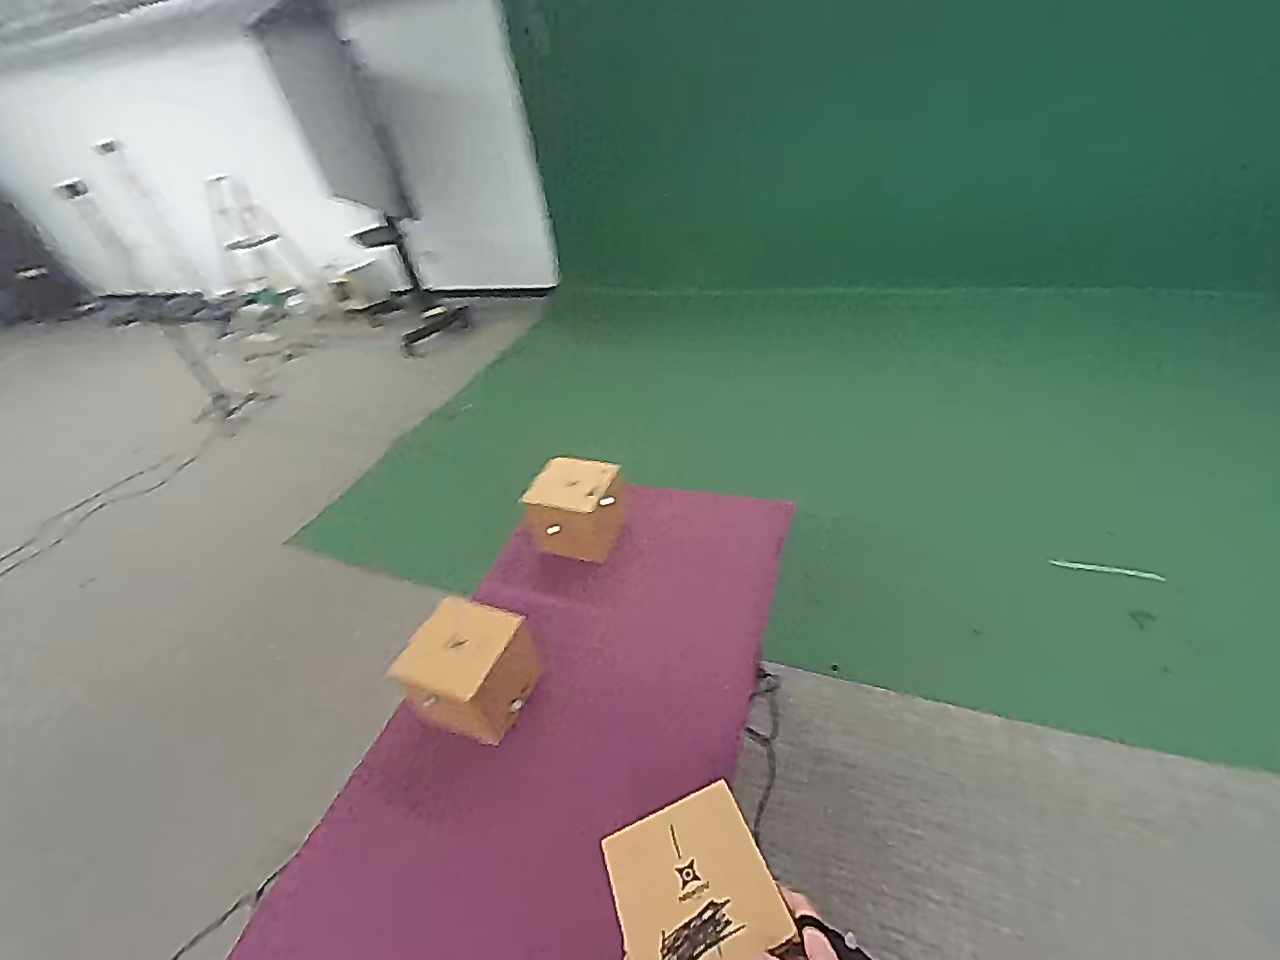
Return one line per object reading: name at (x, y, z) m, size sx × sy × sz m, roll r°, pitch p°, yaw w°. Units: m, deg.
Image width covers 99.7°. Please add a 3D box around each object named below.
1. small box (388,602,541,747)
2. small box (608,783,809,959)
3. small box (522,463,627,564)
small box at (-0.308, 0.354, 0.984) m, size 0.179 × 0.176 × 0.168 m, roll 10°, pitch 43°, yaw 21°
small box at (0.082, 0.499, 0.611) m, size 0.168 × 0.176 × 0.179 m, roll -22°, pitch 27°, yaw -7°
small box at (-0.148, 0.080, 1.285) m, size 0.179 × 0.176 × 0.168 m, roll 7°, pitch 43°, yaw 21°
